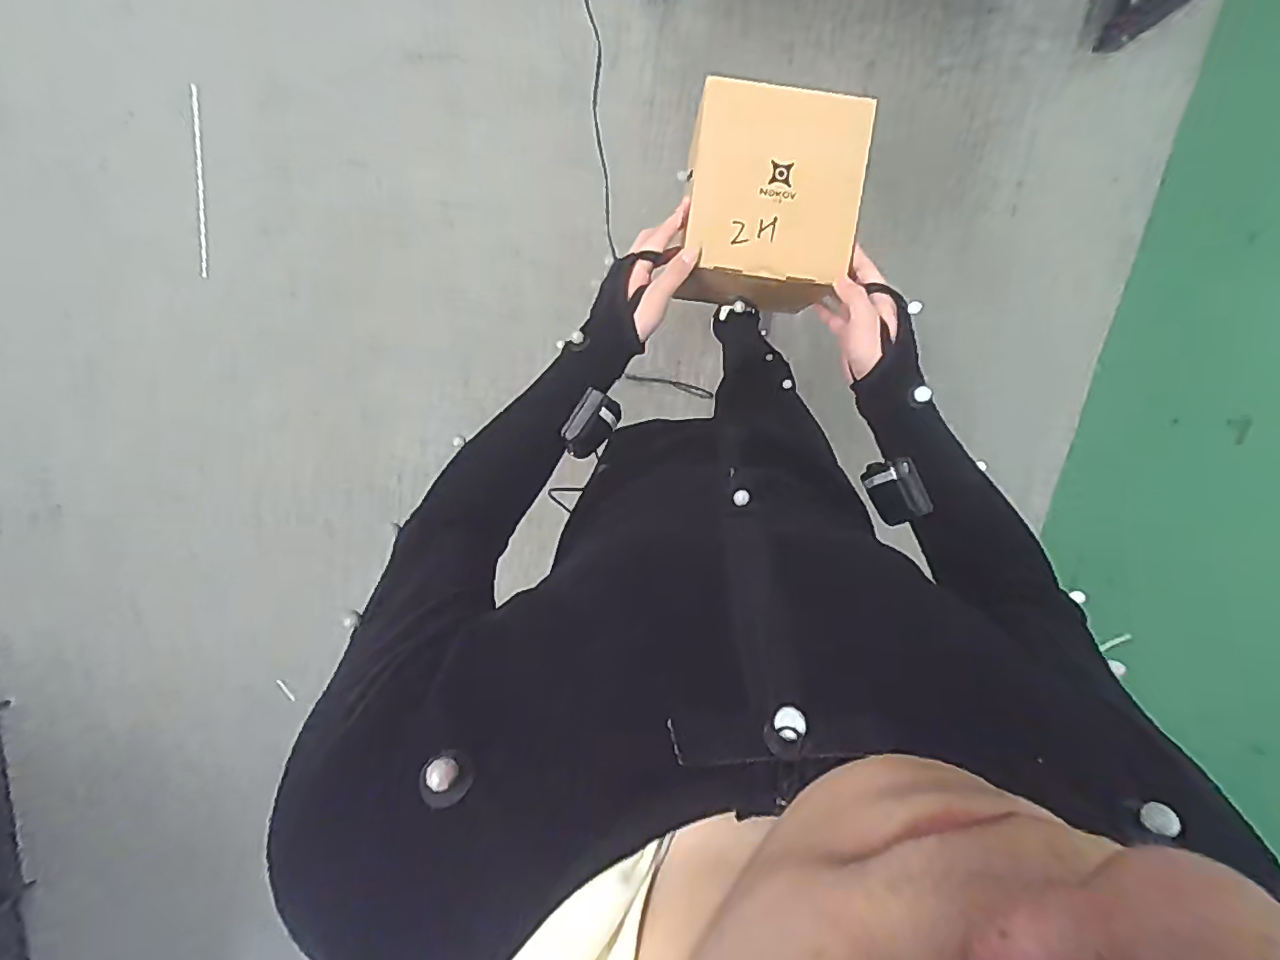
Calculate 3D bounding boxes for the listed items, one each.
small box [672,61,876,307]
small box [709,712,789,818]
[{"bbox_3d":[0.130,-0.304,0.594,0.168,0.176,0.179,8,97,-1],"label":"small box"},{"bbox_3d":[0.287,0.770,1.471,0.168,0.176,0.179,10,105,-2],"label":"small box"}]
